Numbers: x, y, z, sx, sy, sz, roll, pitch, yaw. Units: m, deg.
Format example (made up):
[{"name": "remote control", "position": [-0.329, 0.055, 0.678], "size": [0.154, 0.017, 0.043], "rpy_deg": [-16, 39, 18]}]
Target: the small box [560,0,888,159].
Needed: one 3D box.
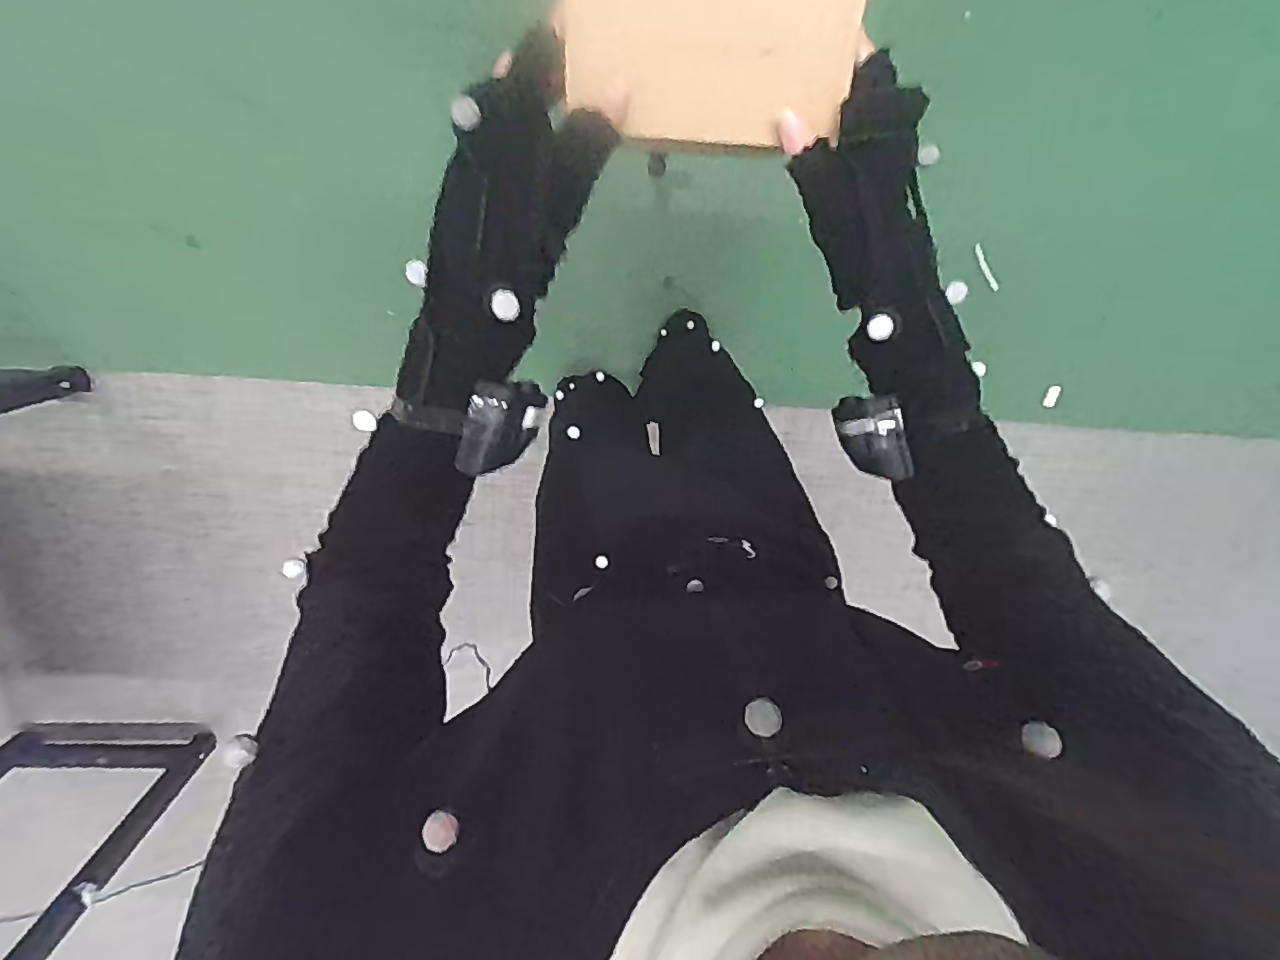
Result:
[{"name": "small box", "position": [0.037, -0.302, 0.321], "size": [0.168, 0.176, 0.179], "rpy_deg": [1, 119, -7]}]
